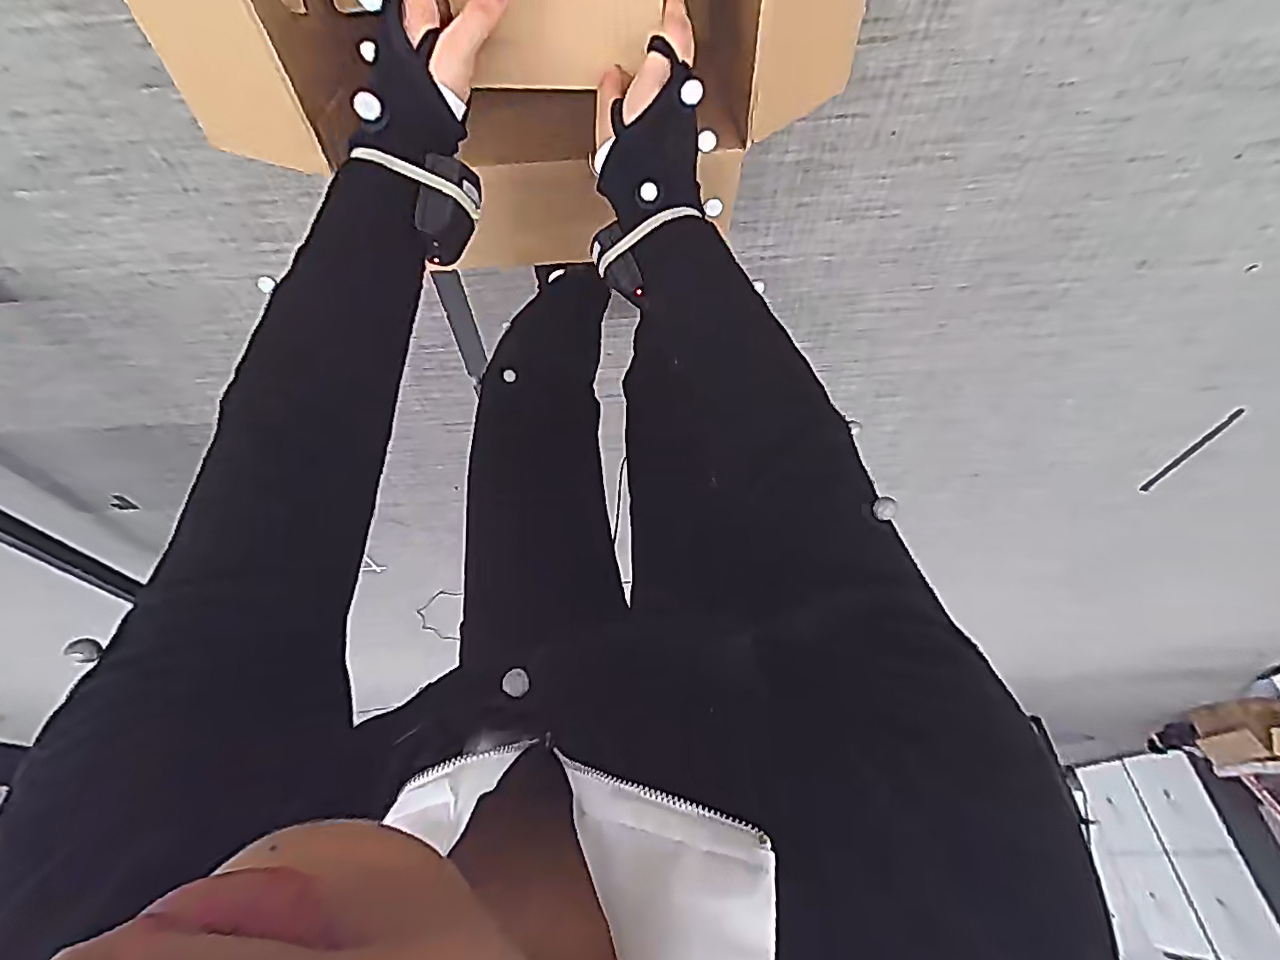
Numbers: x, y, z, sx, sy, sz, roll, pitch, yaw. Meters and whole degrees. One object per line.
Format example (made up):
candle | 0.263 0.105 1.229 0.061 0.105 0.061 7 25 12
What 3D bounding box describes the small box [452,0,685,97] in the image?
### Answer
small box | -0.050 -0.437 0.425 0.168 0.176 0.179 6 144 6
